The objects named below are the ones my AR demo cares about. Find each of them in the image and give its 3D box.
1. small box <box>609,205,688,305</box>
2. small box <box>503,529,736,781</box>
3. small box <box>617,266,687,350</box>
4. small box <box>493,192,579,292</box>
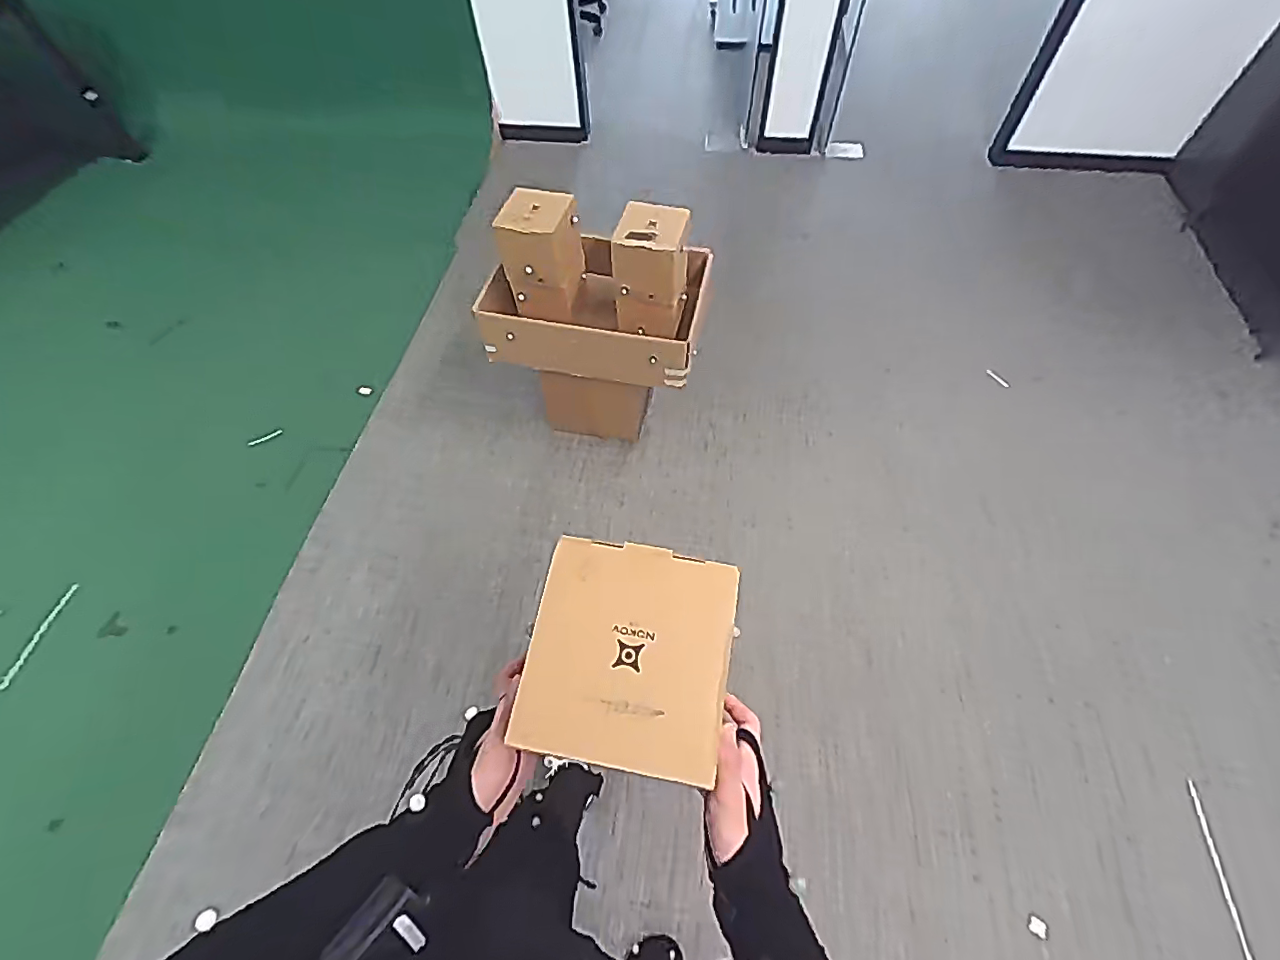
[{"bbox_3d":[0.027,-0.585,1.417,0.168,0.176,0.179,12,60,8],"label":"small box"},{"bbox_3d":[-0.010,0.167,0.517,0.168,0.176,0.179,9,66,6],"label":"small box"},{"bbox_3d":[0.036,-0.507,1.562,0.168,0.176,0.179,11,61,8],"label":"small box"},{"bbox_3d":[-0.271,-0.641,1.461,0.168,0.176,0.179,12,60,10],"label":"small box"}]
